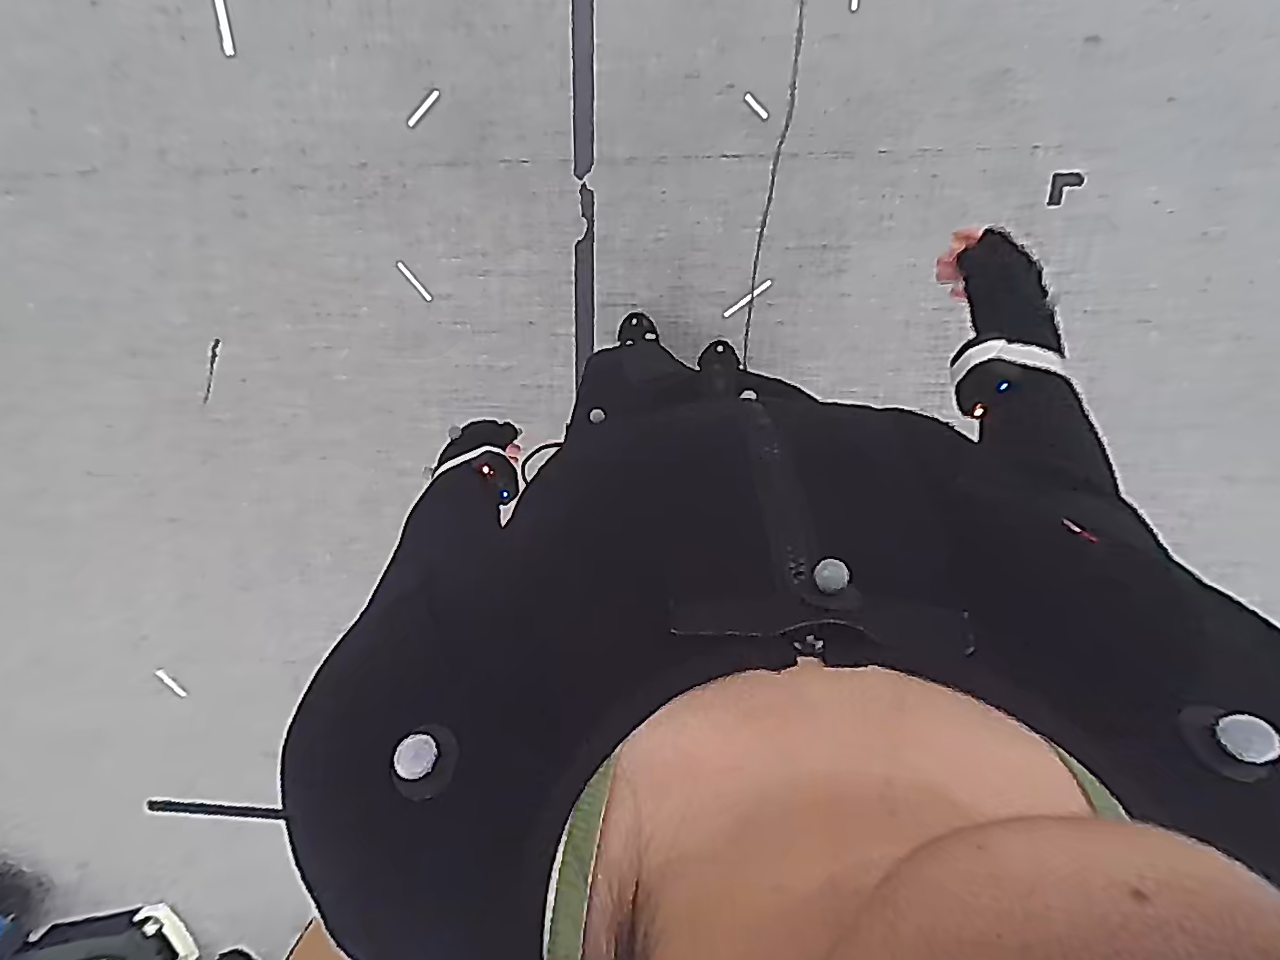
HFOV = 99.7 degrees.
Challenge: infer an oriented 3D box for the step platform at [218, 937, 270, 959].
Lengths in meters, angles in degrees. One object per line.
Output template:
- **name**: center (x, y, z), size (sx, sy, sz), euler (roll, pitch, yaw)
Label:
- **step platform**: center (-1.767, 2.066, 2.118), size (0.684, 0.204, 0.286), euler (-27, 102, 10)
